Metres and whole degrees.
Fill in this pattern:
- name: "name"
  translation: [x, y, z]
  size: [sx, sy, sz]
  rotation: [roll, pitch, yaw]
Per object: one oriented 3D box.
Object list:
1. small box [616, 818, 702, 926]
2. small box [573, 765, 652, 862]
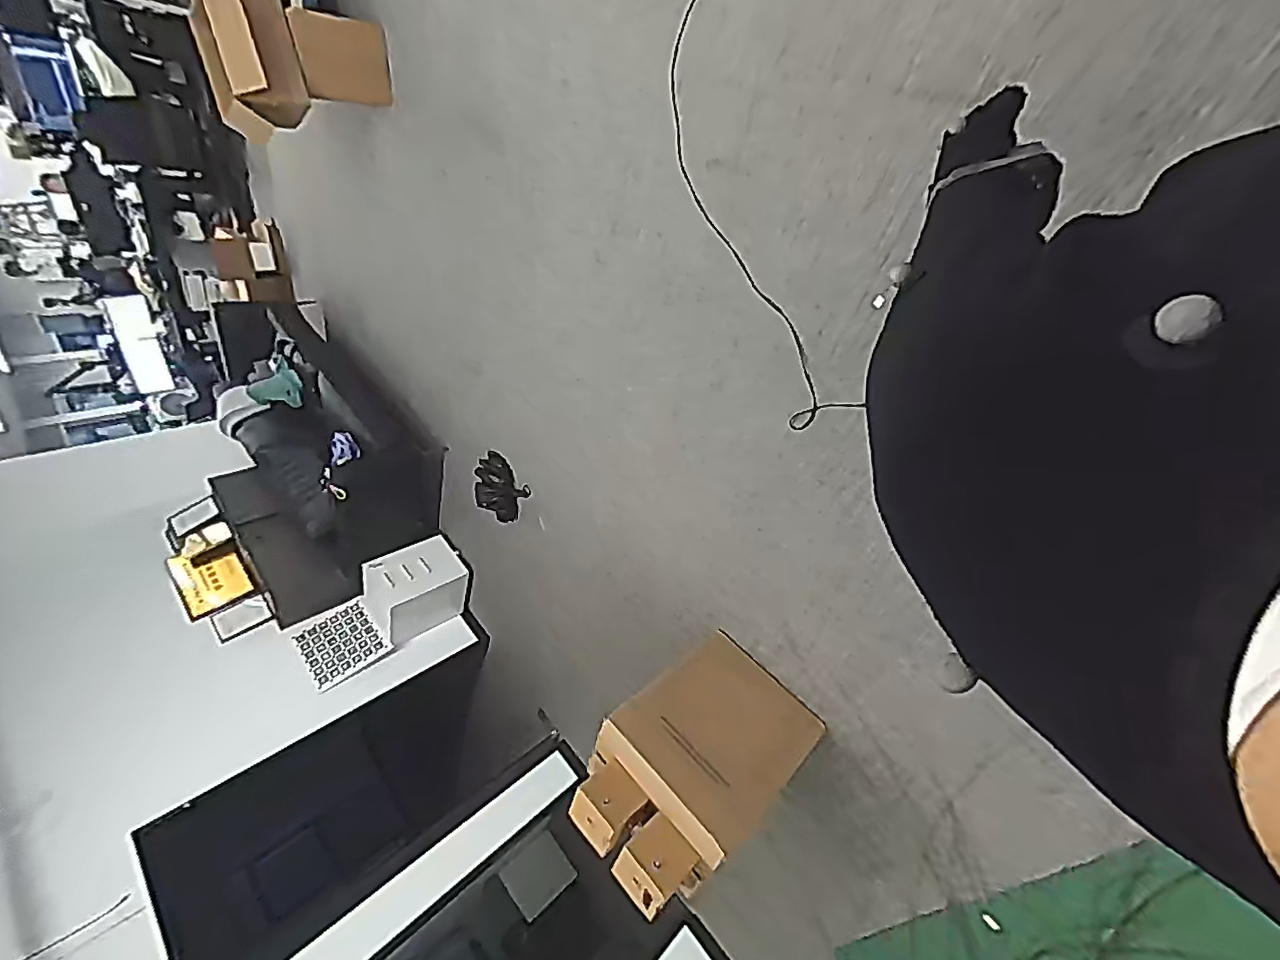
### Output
- name: "small box"
  translation: [0.061, 1.189, 1.652]
  size: [0.179, 0.176, 0.168]
  rotation: [37, 125, 30]
- name: "small box"
  translation: [-0.086, 1.077, 1.759]
  size: [0.179, 0.176, 0.168]
  rotation: [37, 124, 32]
